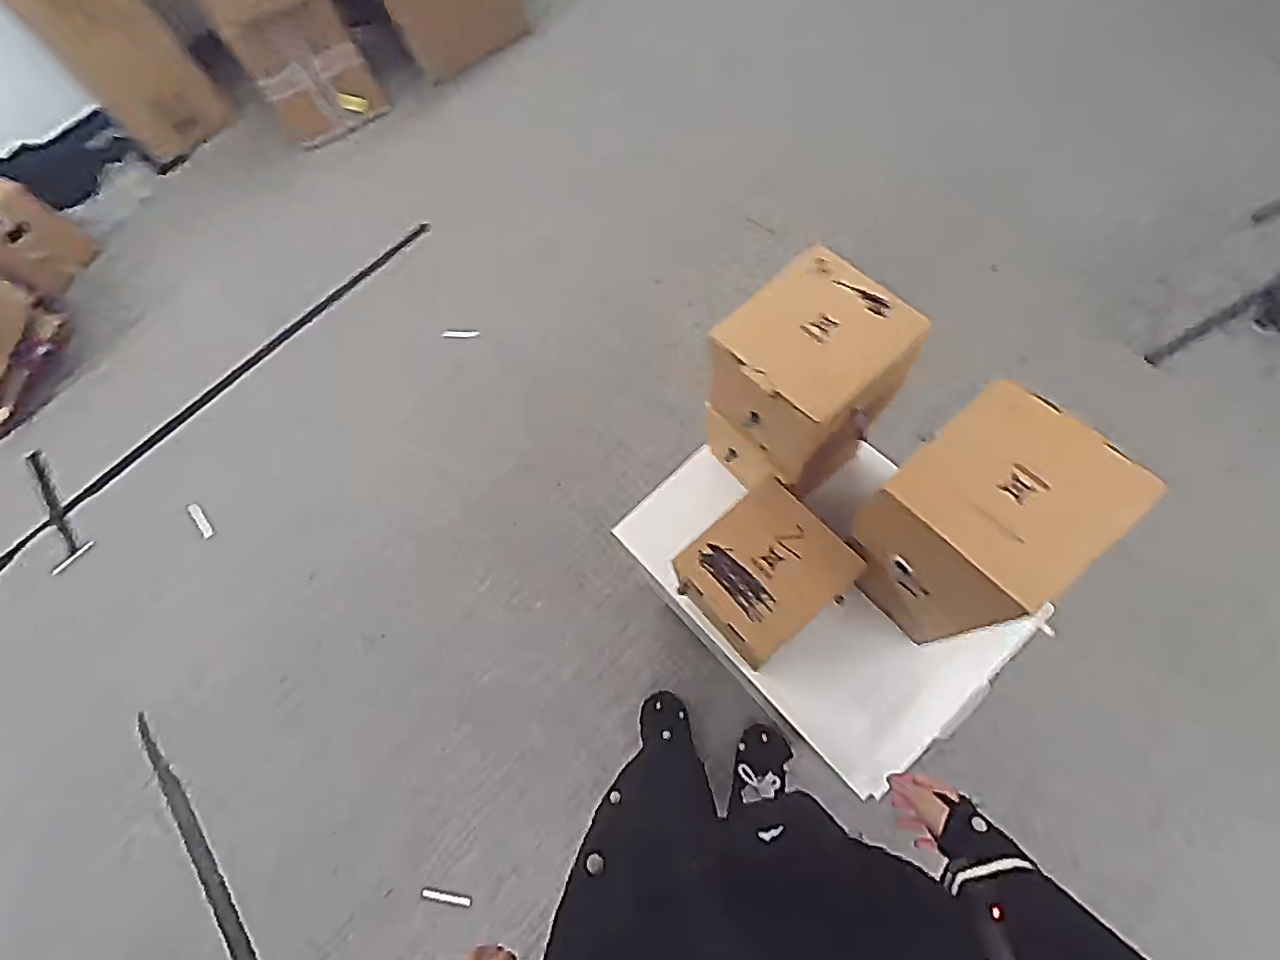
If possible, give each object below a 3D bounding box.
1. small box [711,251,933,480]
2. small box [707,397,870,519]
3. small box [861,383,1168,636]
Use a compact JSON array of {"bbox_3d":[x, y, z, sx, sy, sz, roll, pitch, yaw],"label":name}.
[{"bbox_3d":[0.208,-0.128,0.659,0.179,0.176,0.168,-40,68,-7],"label":"small box"},{"bbox_3d":[0.222,-0.068,0.811,0.179,0.176,0.168,-38,68,-7],"label":"small box"},{"bbox_3d":[0.361,0.040,0.565,0.179,0.176,0.168,-40,67,-6],"label":"small box"}]
